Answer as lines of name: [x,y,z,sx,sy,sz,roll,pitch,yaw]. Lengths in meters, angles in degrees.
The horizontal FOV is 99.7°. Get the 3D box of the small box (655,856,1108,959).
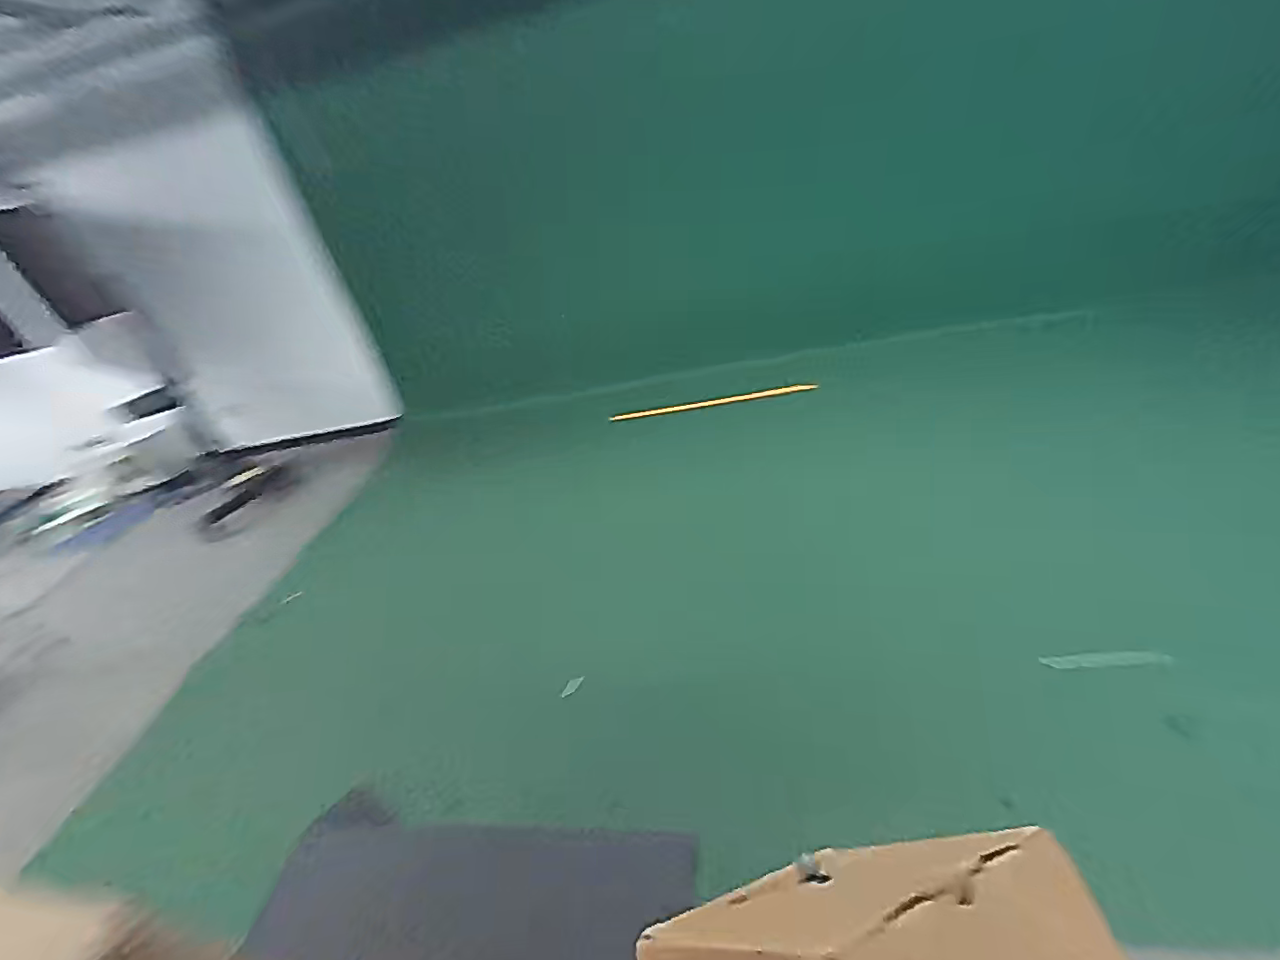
small box: [0.126,0.306,0.256,0.168,0.176,0.179,3,52,-27]
